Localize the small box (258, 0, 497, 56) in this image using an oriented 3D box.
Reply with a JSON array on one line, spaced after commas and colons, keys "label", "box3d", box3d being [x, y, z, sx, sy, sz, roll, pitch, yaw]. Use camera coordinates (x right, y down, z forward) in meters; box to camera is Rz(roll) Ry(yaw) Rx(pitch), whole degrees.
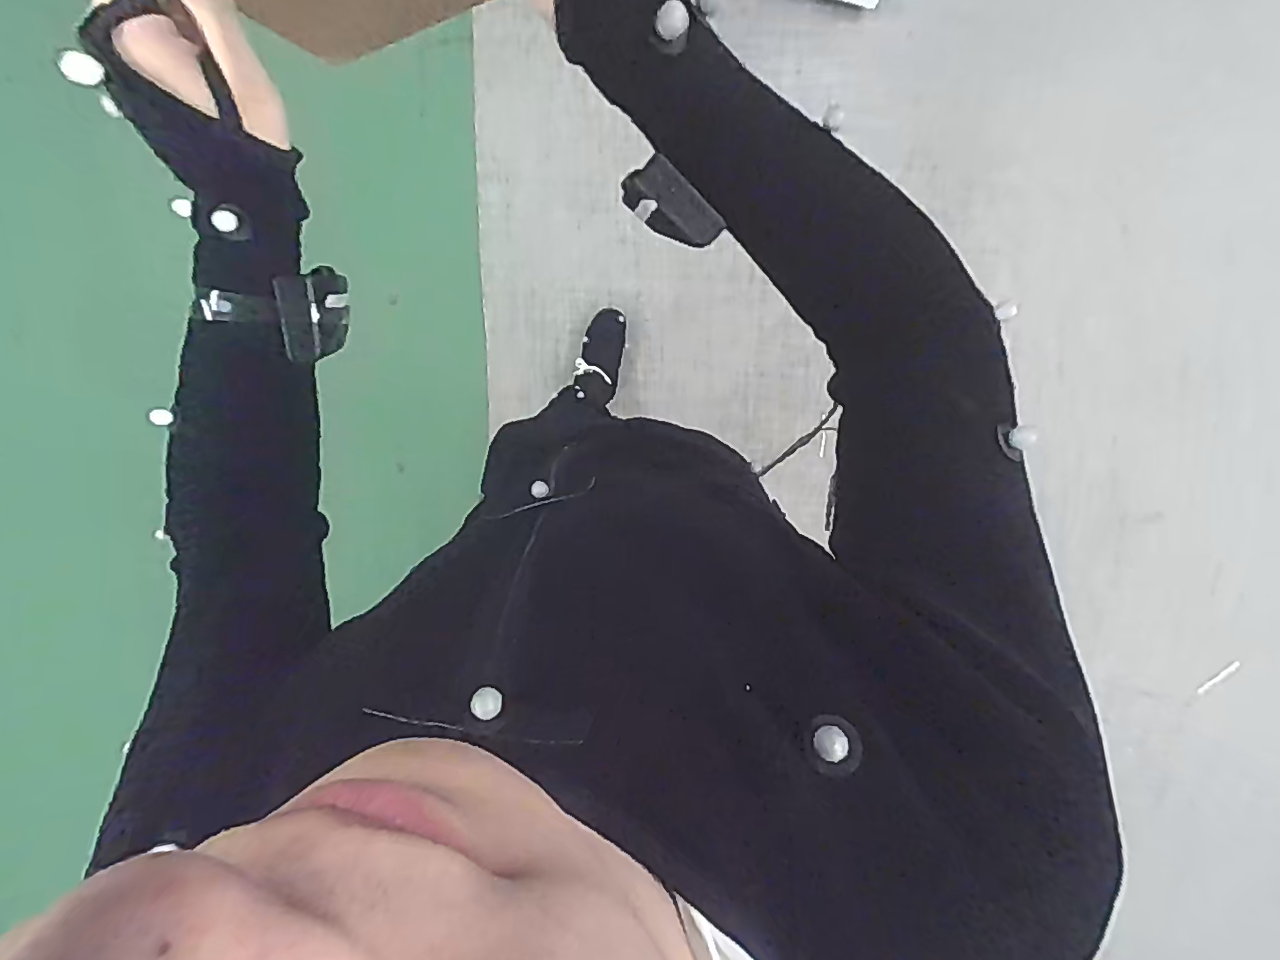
[{"label": "small box", "box3d": [-0.177, -0.384, 0.303, 0.179, 0.176, 0.168, -16, 110, 7]}]
